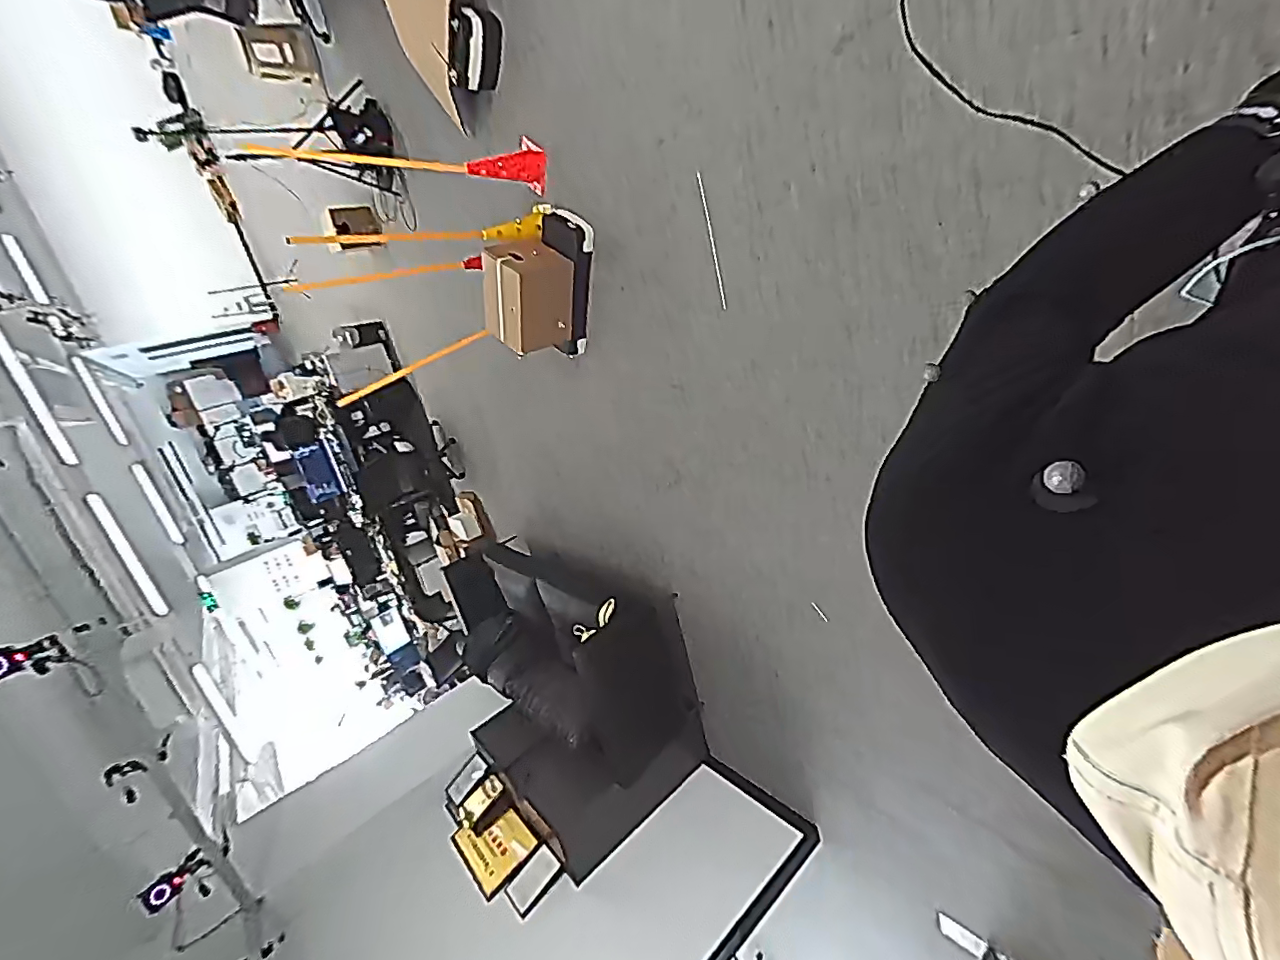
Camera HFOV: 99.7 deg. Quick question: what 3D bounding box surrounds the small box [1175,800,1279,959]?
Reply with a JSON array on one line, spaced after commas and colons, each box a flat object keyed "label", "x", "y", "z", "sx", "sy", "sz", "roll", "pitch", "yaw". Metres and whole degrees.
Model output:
[{"label": "small box", "x": 1.148, "y": 0.761, "z": 1.017, "sx": 0.168, "sy": 0.176, "sz": 0.179, "roll": 13, "pitch": 121, "yaw": 51}]
